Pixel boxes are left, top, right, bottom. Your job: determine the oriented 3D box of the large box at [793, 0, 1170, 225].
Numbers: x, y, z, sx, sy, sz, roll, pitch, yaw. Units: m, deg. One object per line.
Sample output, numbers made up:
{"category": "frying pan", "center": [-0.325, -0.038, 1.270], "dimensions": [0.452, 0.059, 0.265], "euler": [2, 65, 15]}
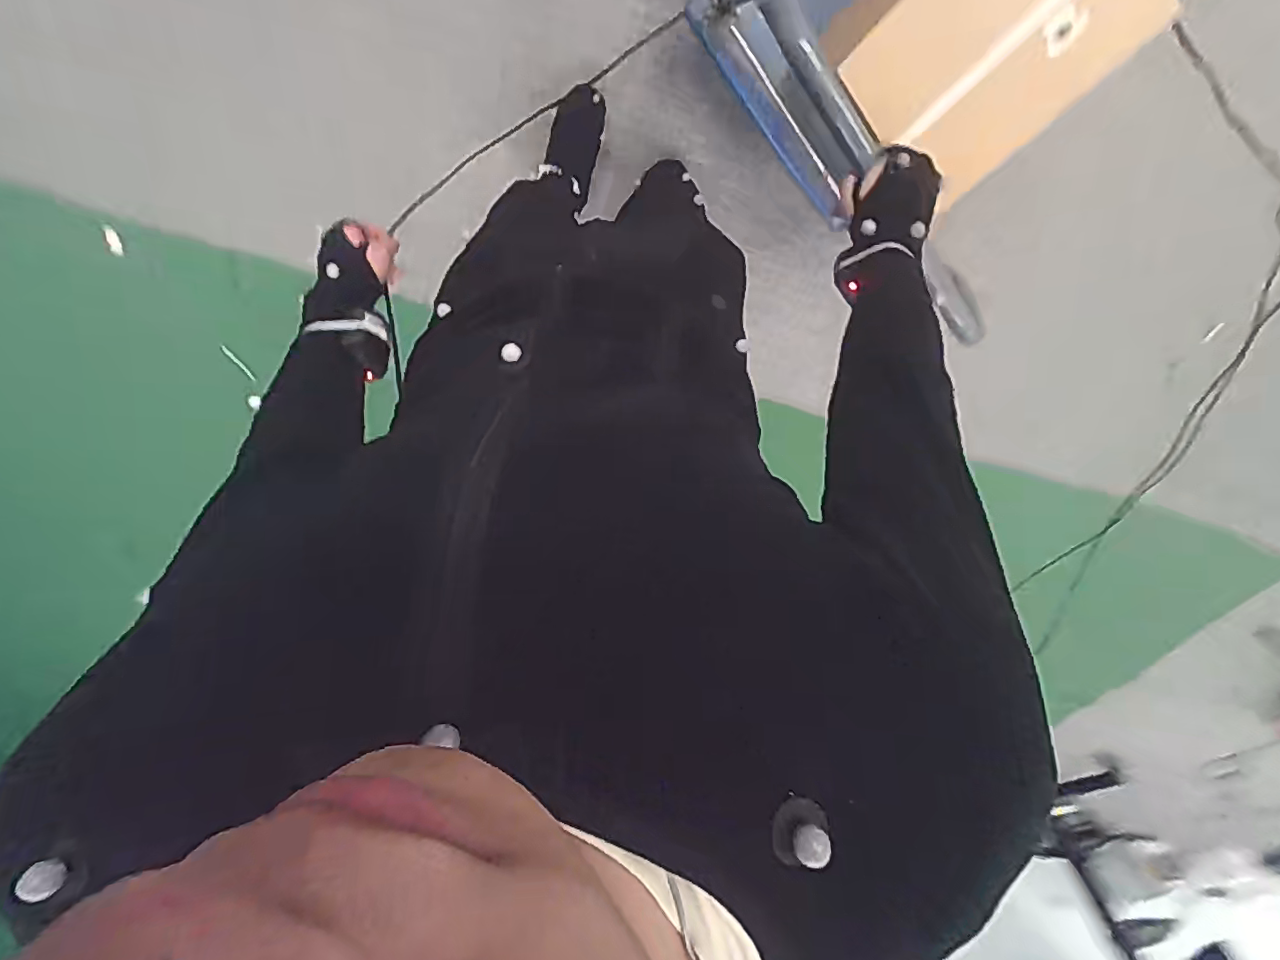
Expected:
{"category": "large box", "center": [0.547, -0.740, 0.944], "dimensions": [0.408, 0.320, 0.320], "euler": [-38, 119, 24]}
